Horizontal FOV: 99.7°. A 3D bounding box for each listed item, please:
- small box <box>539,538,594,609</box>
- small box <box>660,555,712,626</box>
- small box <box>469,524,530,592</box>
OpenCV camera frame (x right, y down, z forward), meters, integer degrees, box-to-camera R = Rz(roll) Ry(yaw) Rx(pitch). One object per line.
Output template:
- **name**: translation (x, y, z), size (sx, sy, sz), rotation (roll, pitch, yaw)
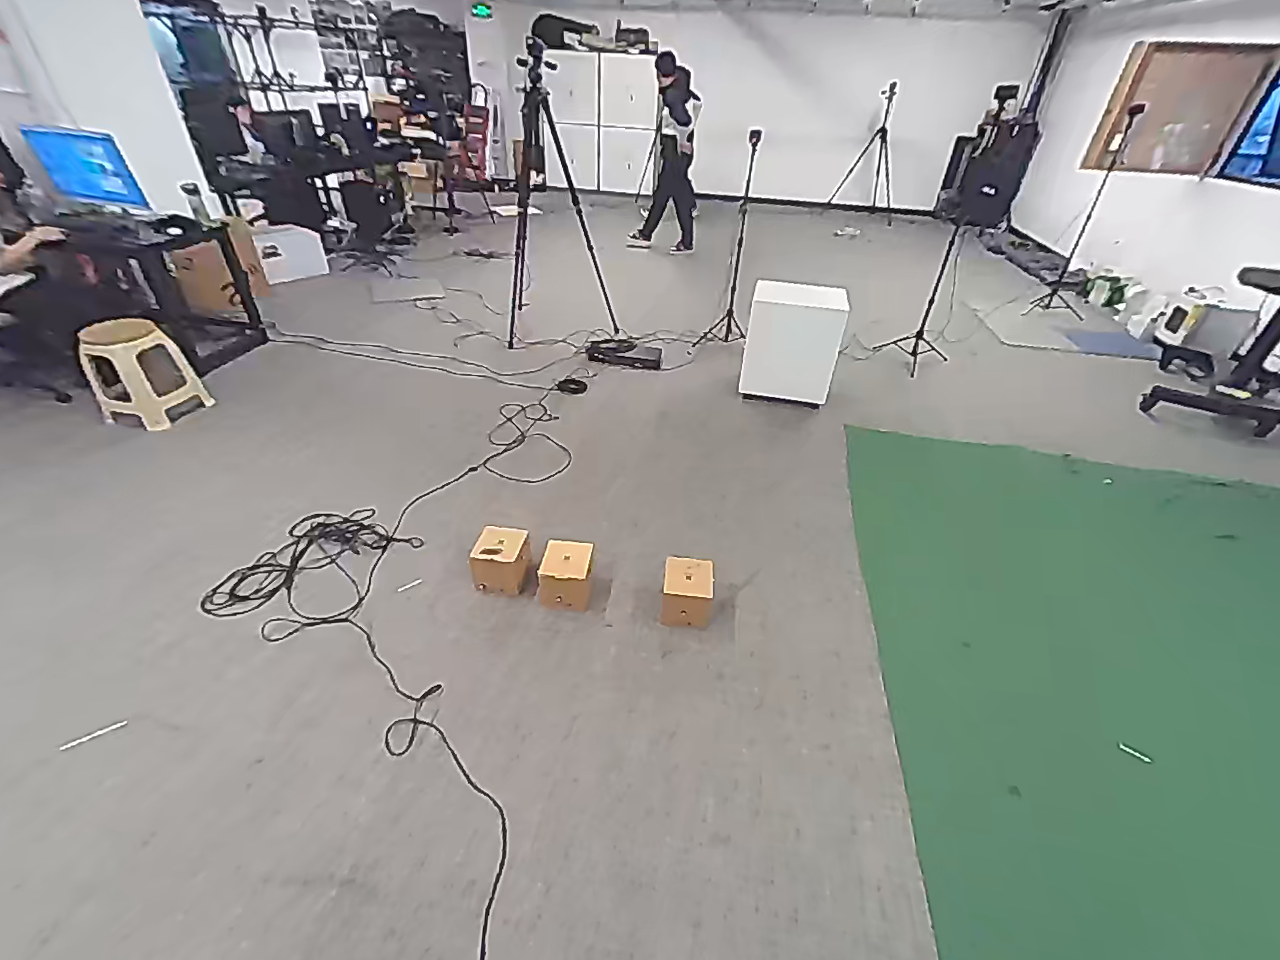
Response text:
- **small box**: translation (-0.260, 0.335, 1.939), size (0.168, 0.176, 0.179), rotation (5, 38, 3)
- **small box**: translation (0.161, 0.389, 1.894), size (0.168, 0.176, 0.179), rotation (6, 37, 3)
- **small box**: translation (-0.507, 0.287, 1.984), size (0.168, 0.176, 0.179), rotation (7, 36, 5)
